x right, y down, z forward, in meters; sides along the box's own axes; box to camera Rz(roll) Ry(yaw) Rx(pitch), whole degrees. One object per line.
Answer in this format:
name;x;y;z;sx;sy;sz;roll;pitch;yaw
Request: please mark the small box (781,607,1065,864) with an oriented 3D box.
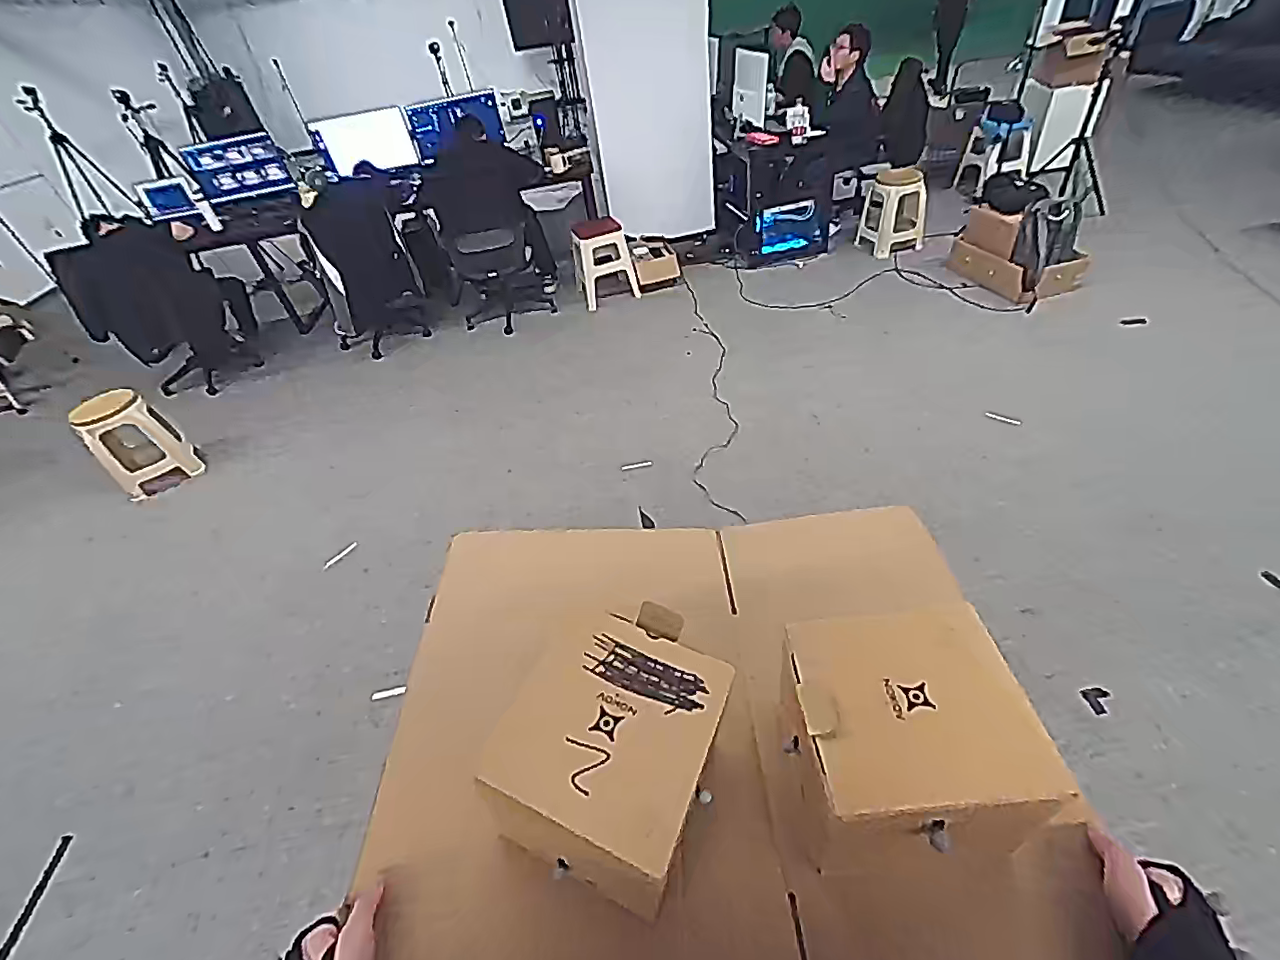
small box;0.240;0.246;0.517;0.179;0.176;0.168;-9;42;5
